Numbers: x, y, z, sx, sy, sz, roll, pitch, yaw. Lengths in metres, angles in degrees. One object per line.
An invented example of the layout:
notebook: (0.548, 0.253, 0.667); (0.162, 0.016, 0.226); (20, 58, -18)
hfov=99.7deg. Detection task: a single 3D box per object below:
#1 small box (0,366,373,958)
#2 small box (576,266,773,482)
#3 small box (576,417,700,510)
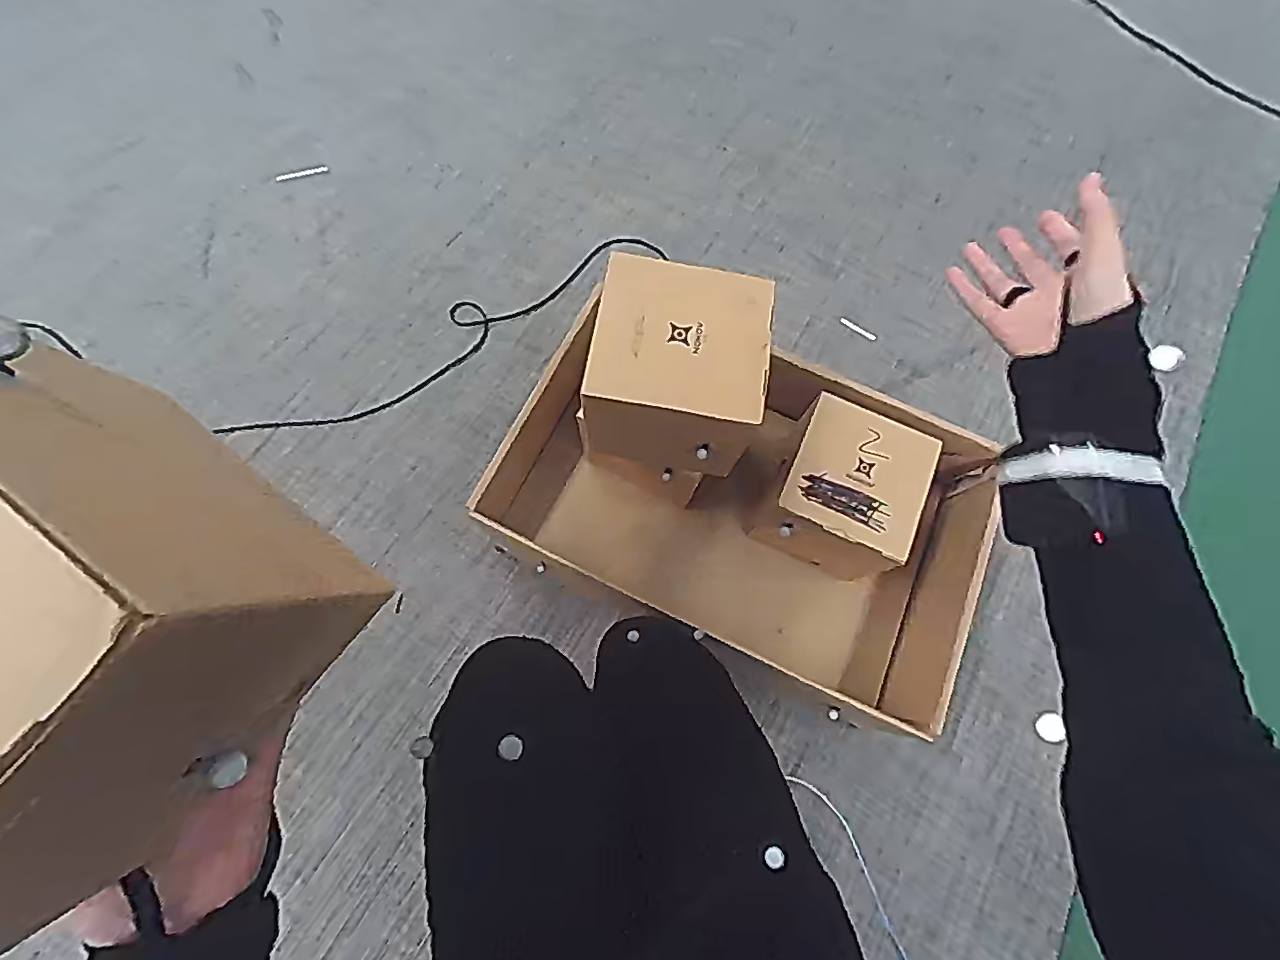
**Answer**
small box: (-0.250, 0.066, 0.208); (0.179, 0.176, 0.168); (39, 80, 2)
small box: (0.034, -0.106, 0.608); (0.179, 0.176, 0.168); (10, 73, 0)
small box: (0.024, -0.074, 0.768); (0.179, 0.176, 0.168); (26, 73, 3)
